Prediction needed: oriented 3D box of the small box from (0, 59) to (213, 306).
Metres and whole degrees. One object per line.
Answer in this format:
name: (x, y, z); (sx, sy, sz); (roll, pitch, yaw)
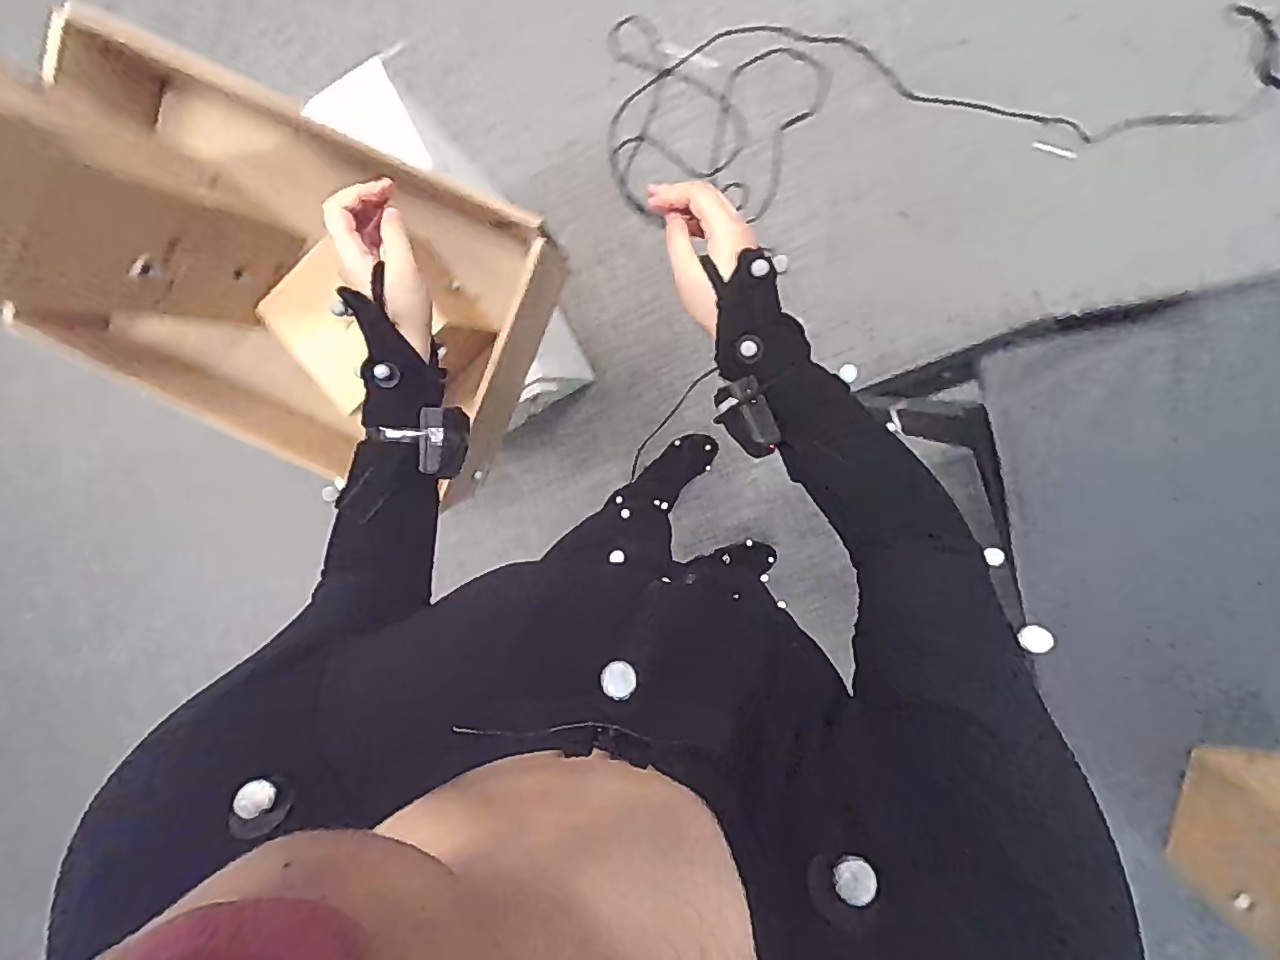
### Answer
small box: (-0.608, -0.298, 0.554); (0.179, 0.176, 0.168); (40, 102, -6)
